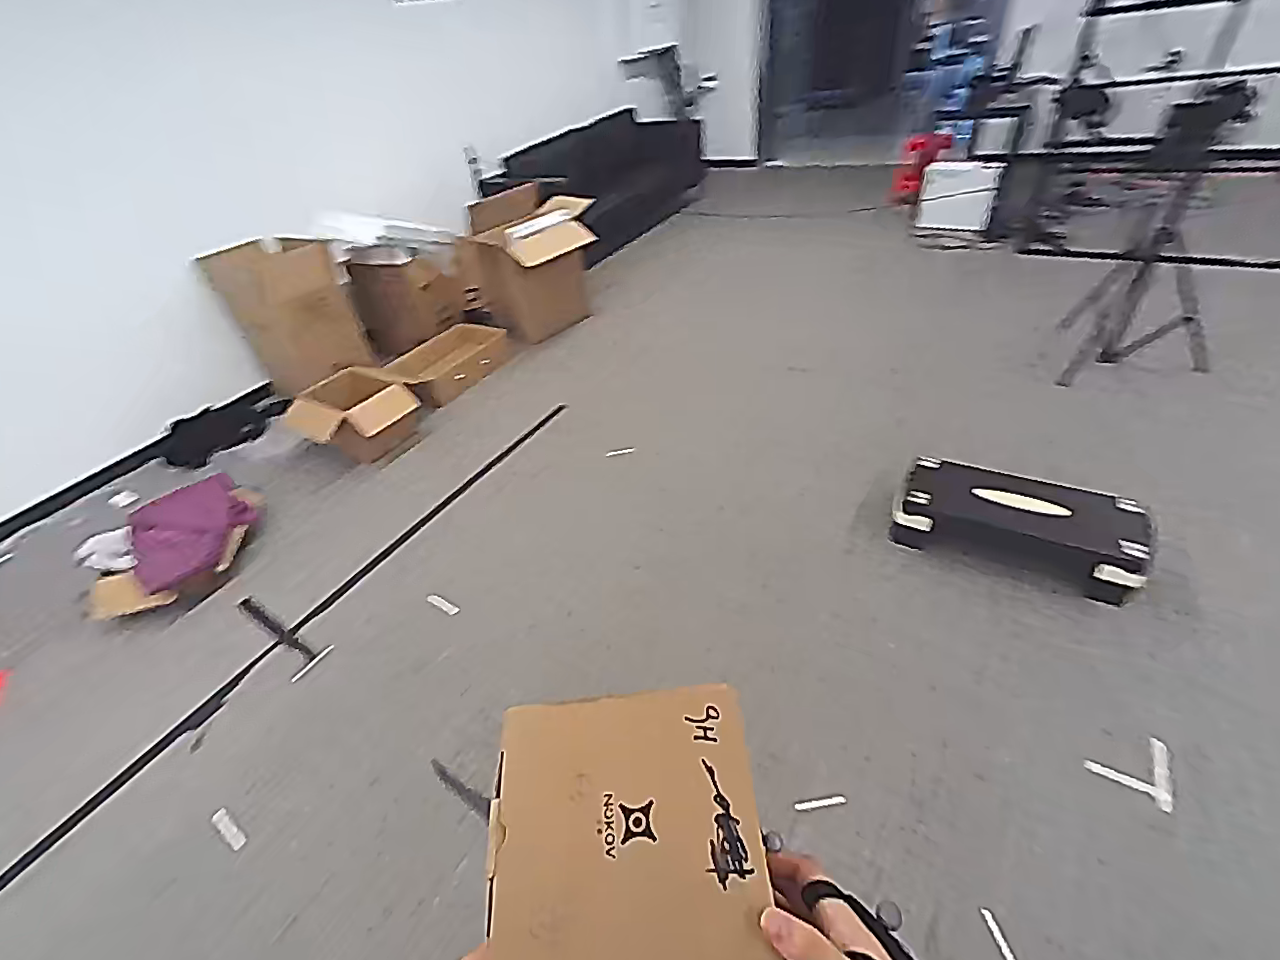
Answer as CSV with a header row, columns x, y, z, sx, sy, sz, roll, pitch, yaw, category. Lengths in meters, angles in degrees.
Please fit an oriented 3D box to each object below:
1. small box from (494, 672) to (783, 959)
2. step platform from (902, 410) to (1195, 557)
x,y,z,sx,sy,sz,roll,pitch,yaw,category
0.004,0.269,0.426,0.179,0.176,0.168,-7,51,3,small box
1.171,-0.008,1.631,0.684,0.204,0.286,17,46,27,step platform
